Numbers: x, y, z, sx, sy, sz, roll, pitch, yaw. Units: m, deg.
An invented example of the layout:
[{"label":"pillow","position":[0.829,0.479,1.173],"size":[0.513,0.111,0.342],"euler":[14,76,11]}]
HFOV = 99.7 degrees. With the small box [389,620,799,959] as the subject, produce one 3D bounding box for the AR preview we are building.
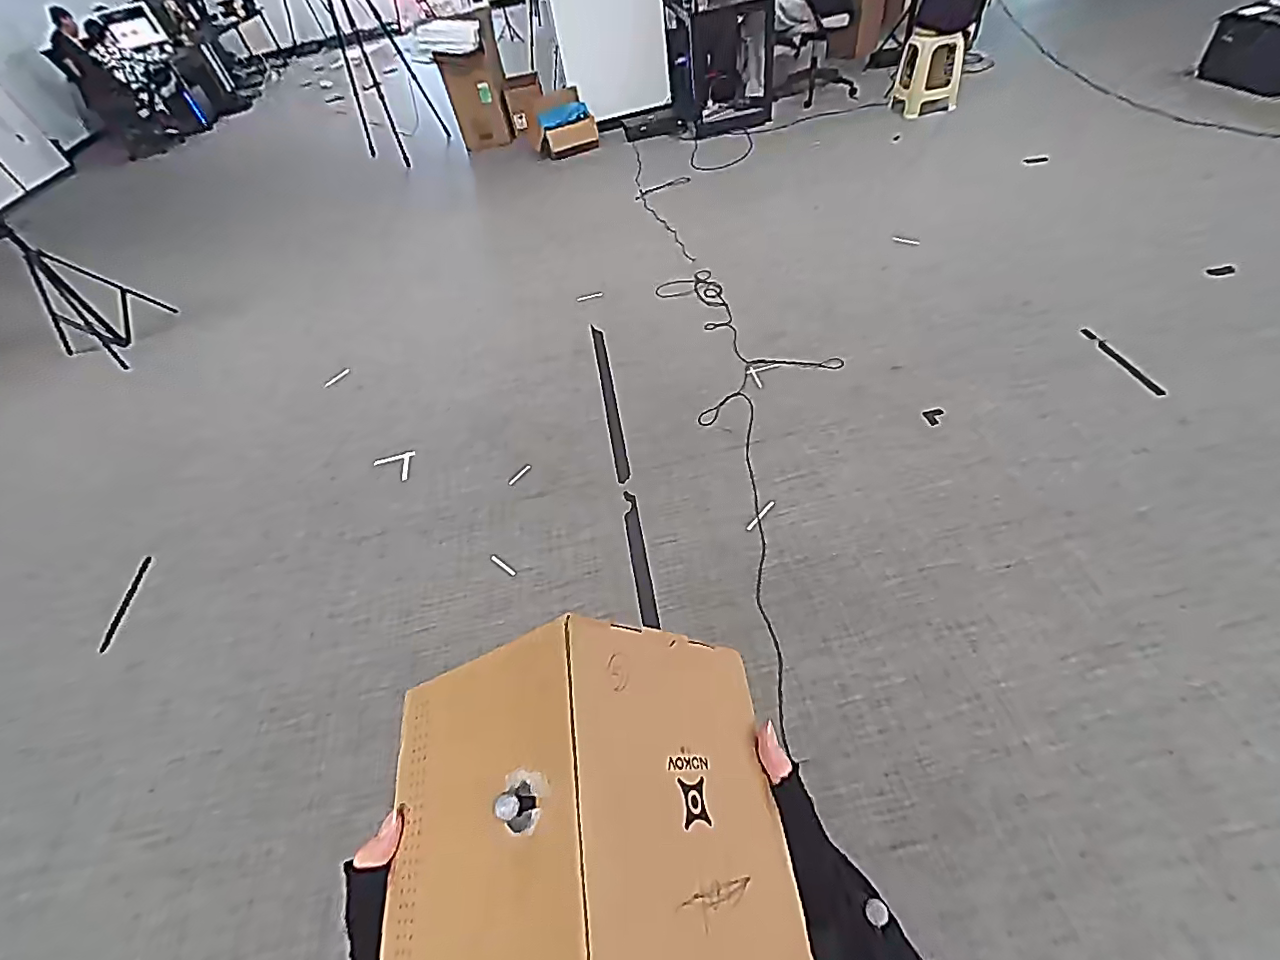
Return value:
[{"label":"small box","position":[-0.034,0.211,0.340],"size":[0.176,0.168,0.179],"euler":[-32,50,31]}]
